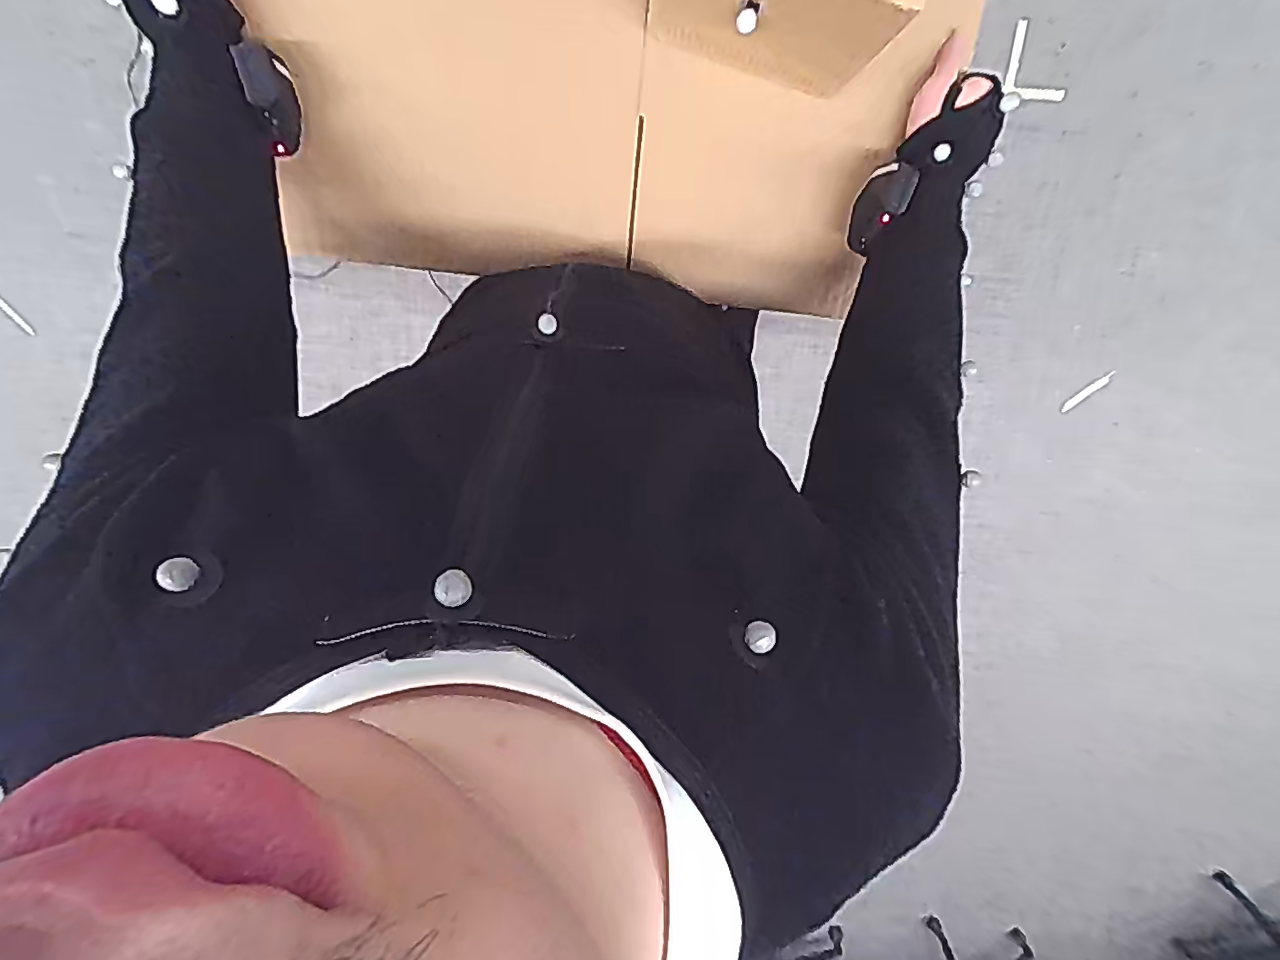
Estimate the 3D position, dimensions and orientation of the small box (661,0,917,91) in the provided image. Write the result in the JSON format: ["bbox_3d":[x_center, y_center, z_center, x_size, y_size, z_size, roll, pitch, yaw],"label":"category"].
[{"bbox_3d":[0.119,-0.428,0.401,0.179,0.176,0.168,15,108,-5],"label":"small box"}]
